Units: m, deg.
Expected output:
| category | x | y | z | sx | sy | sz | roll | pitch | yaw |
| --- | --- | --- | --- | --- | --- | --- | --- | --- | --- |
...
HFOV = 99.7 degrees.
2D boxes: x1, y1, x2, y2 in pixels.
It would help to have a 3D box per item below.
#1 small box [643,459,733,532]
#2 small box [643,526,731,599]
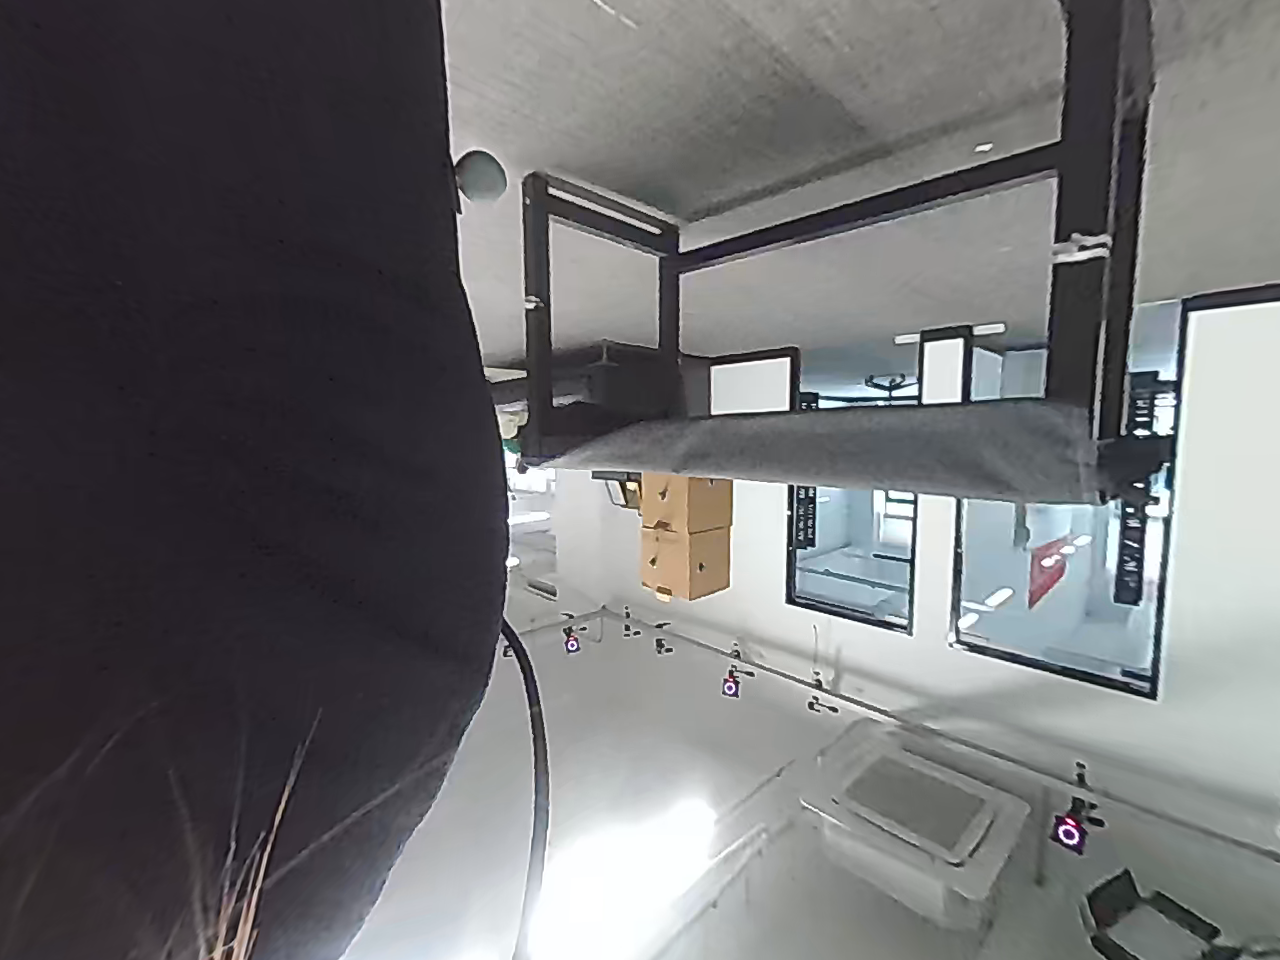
| category | x | y | z | sx | sy | sz | roll | pitch | yaw |
| --- | --- | --- | --- | --- | --- | --- | --- | --- | --- |
| small box | 0.122 | 0.032 | 1.384 | 0.179 | 0.176 | 0.168 | -5 | -173 | -42 |
| small box | 0.121 | 0.194 | 1.403 | 0.168 | 0.176 | 0.179 | 6 | -171 | 44 |
